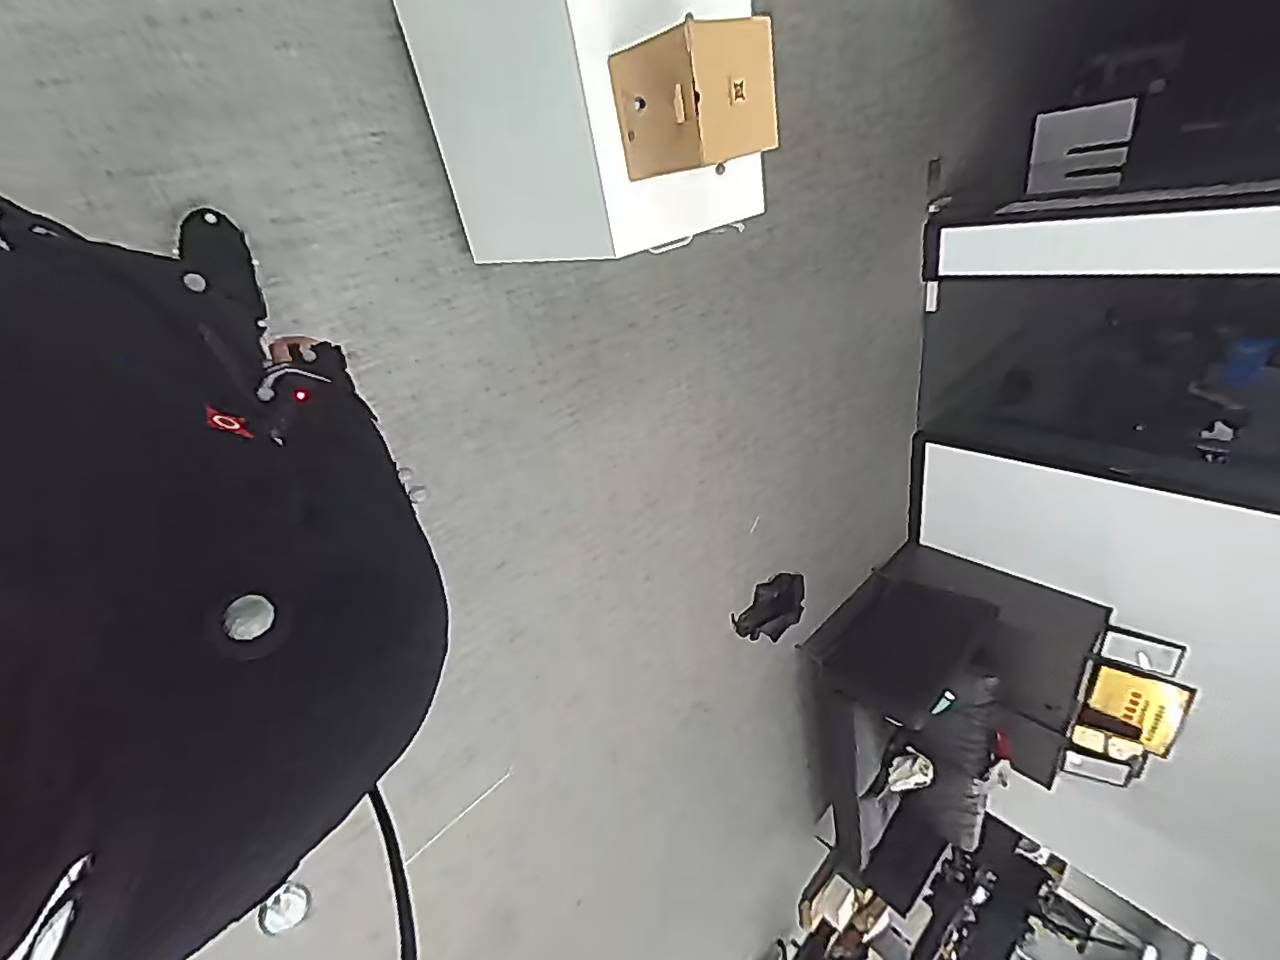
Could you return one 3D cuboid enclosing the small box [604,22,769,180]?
[{"bbox_3d":[0.074,-0.570,0.825,0.179,0.176,0.168,-32,126,-29],"label":"small box"}]
